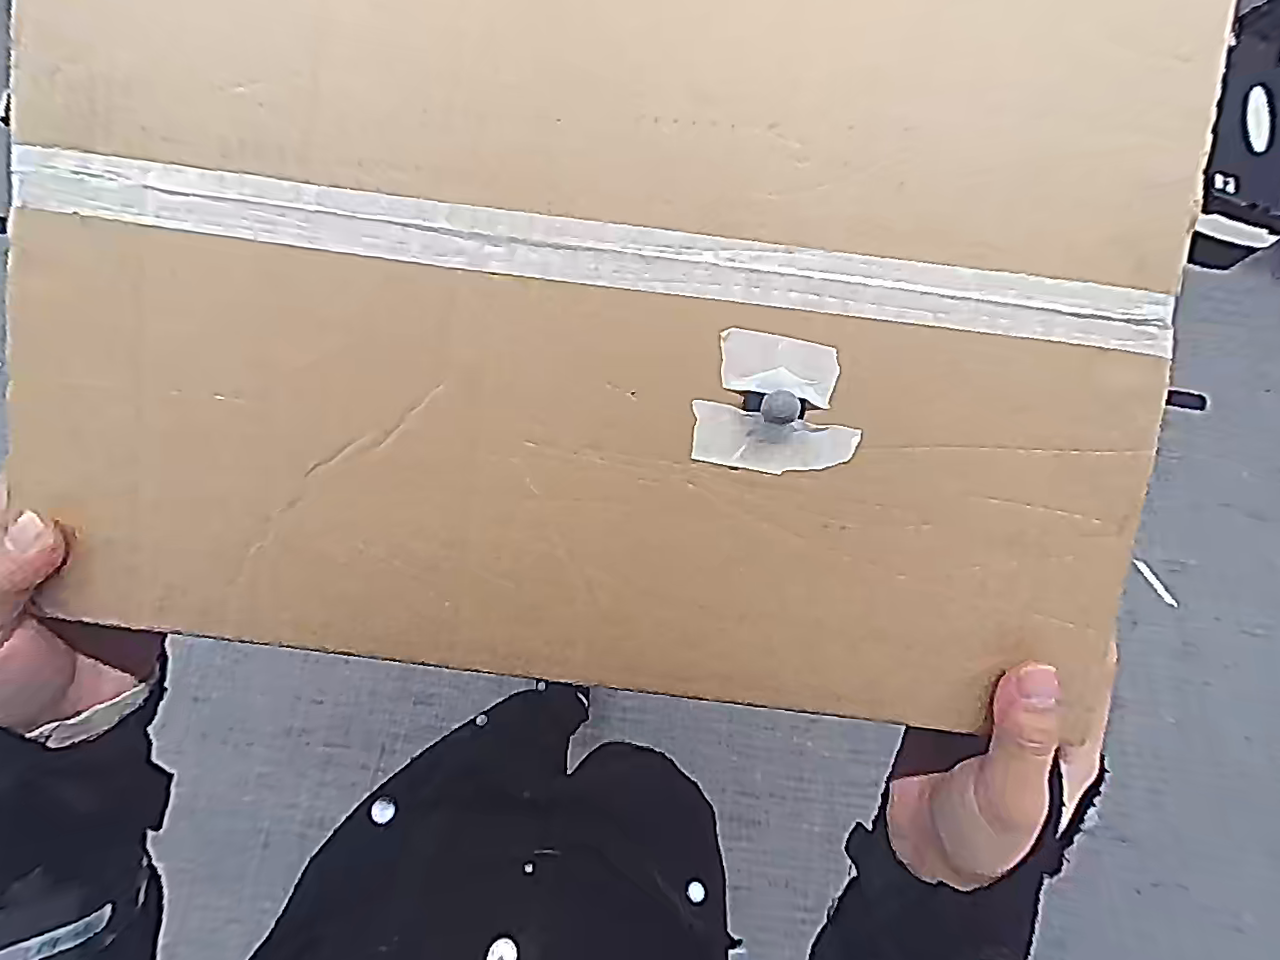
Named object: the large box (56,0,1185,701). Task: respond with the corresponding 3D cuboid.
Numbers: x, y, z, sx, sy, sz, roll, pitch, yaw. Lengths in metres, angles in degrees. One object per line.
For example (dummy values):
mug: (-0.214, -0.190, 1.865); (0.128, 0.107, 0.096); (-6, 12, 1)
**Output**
large box: (-0.014, -0.092, 0.352); (0.408, 0.320, 0.320); (7, 95, -1)
